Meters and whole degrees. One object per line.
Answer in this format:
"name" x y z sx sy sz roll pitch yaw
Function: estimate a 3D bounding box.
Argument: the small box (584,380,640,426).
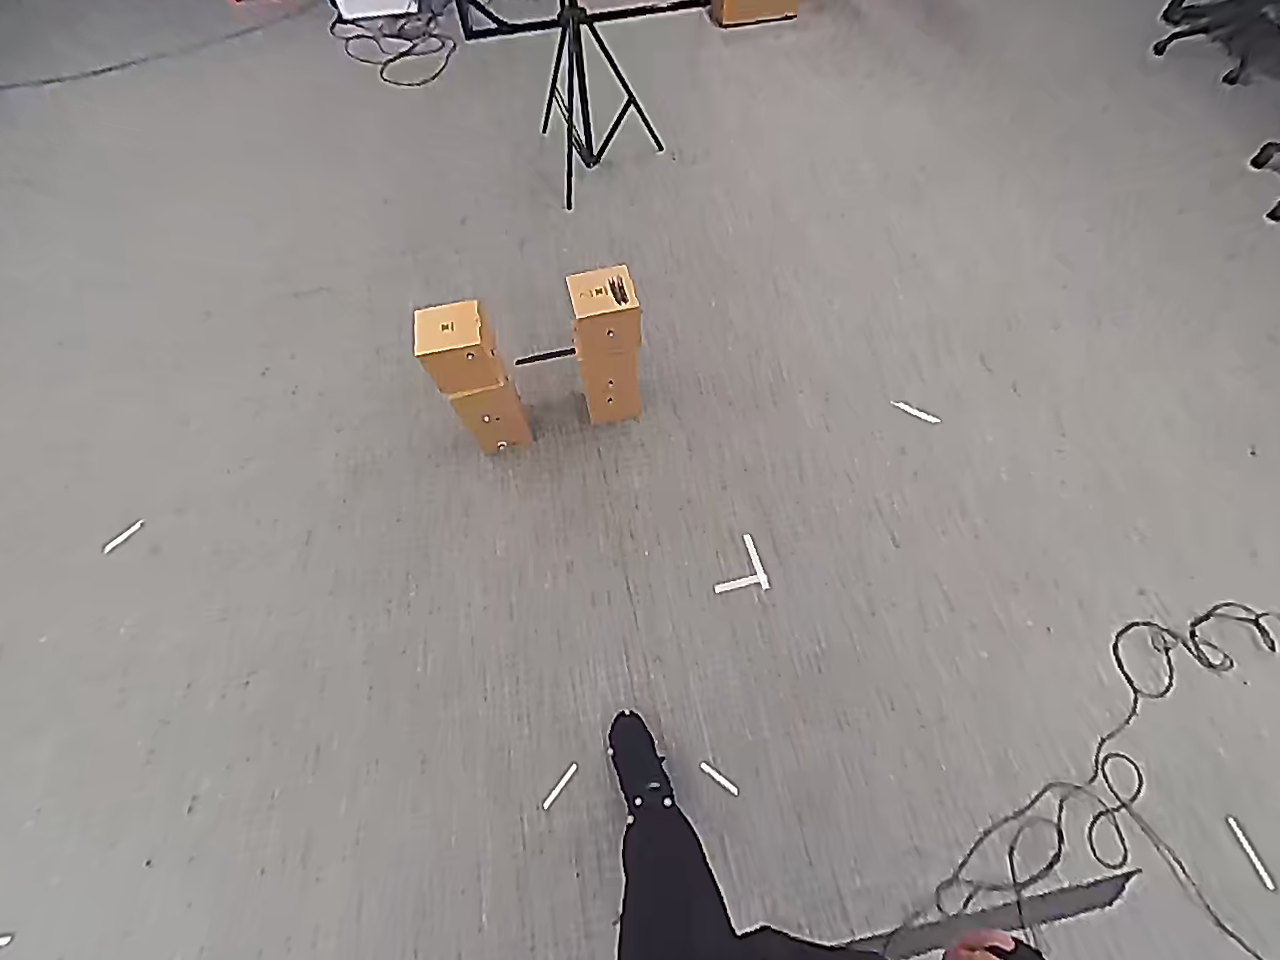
"small box" -0.100 -0.301 1.822 0.179 0.176 0.168 -10 63 -4

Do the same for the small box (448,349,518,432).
"small box" -0.479 -0.273 1.637 0.168 0.176 0.179 -16 63 -5

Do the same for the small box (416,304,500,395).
"small box" -0.500 -0.356 1.499 0.179 0.176 0.168 -11 62 -3

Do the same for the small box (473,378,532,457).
"small box" -0.467 -0.203 1.785 0.168 0.176 0.179 -17 63 -6

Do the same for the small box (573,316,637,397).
"small box" -0.106 -0.379 1.678 0.179 0.176 0.168 -9 62 -4
